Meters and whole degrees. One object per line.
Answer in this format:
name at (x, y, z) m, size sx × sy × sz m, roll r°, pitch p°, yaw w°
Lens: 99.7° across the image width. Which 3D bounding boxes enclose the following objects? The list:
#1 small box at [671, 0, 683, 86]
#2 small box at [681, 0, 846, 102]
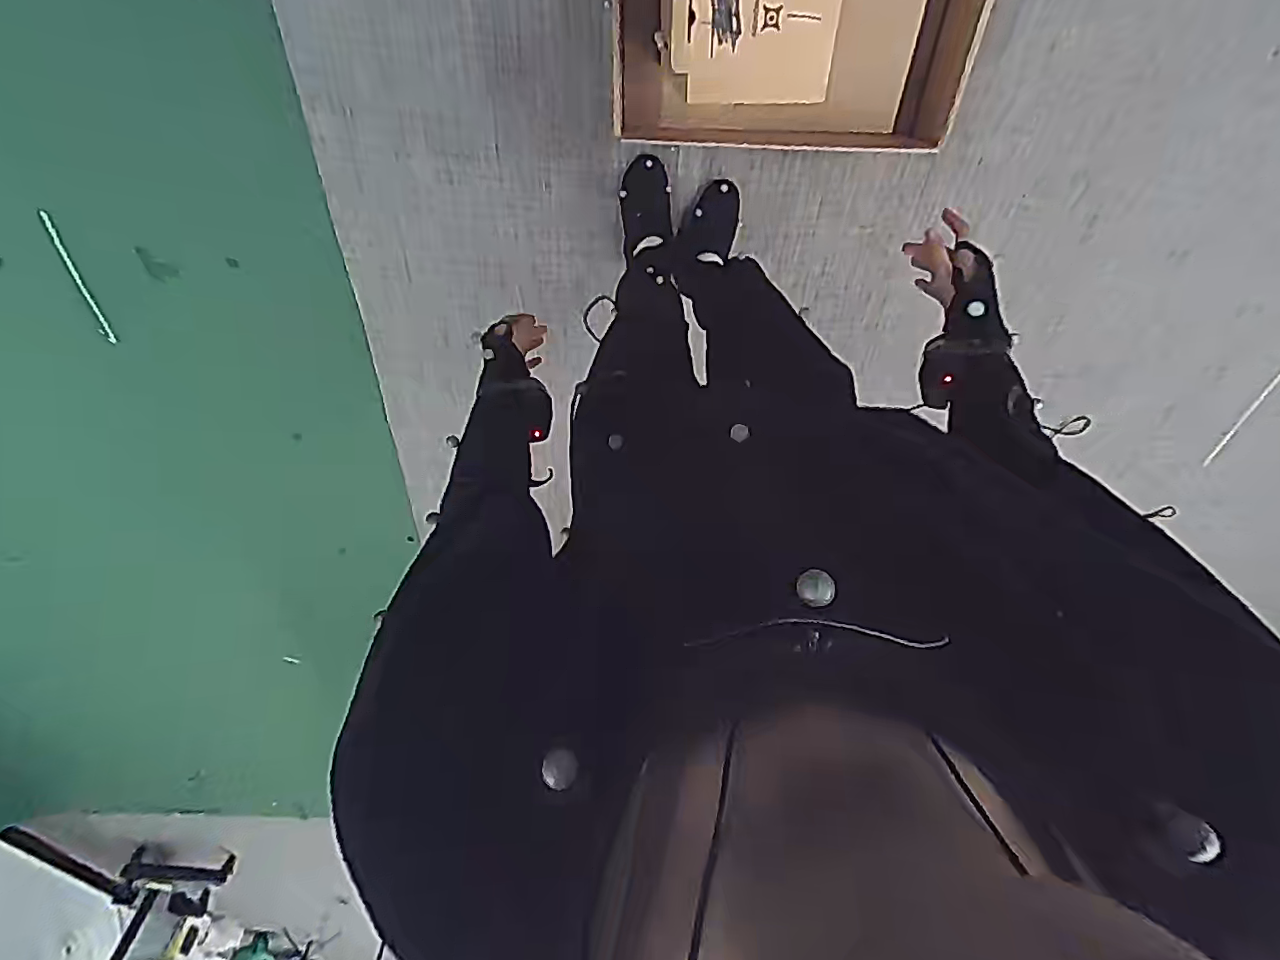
small box at (0.137, -0.690, 0.800) m, size 0.179 × 0.176 × 0.168 m, roll -1°, pitch 131°, yaw 0°
small box at (0.144, -0.582, 0.677) m, size 0.179 × 0.176 × 0.168 m, roll -2°, pitch 131°, yaw -1°
